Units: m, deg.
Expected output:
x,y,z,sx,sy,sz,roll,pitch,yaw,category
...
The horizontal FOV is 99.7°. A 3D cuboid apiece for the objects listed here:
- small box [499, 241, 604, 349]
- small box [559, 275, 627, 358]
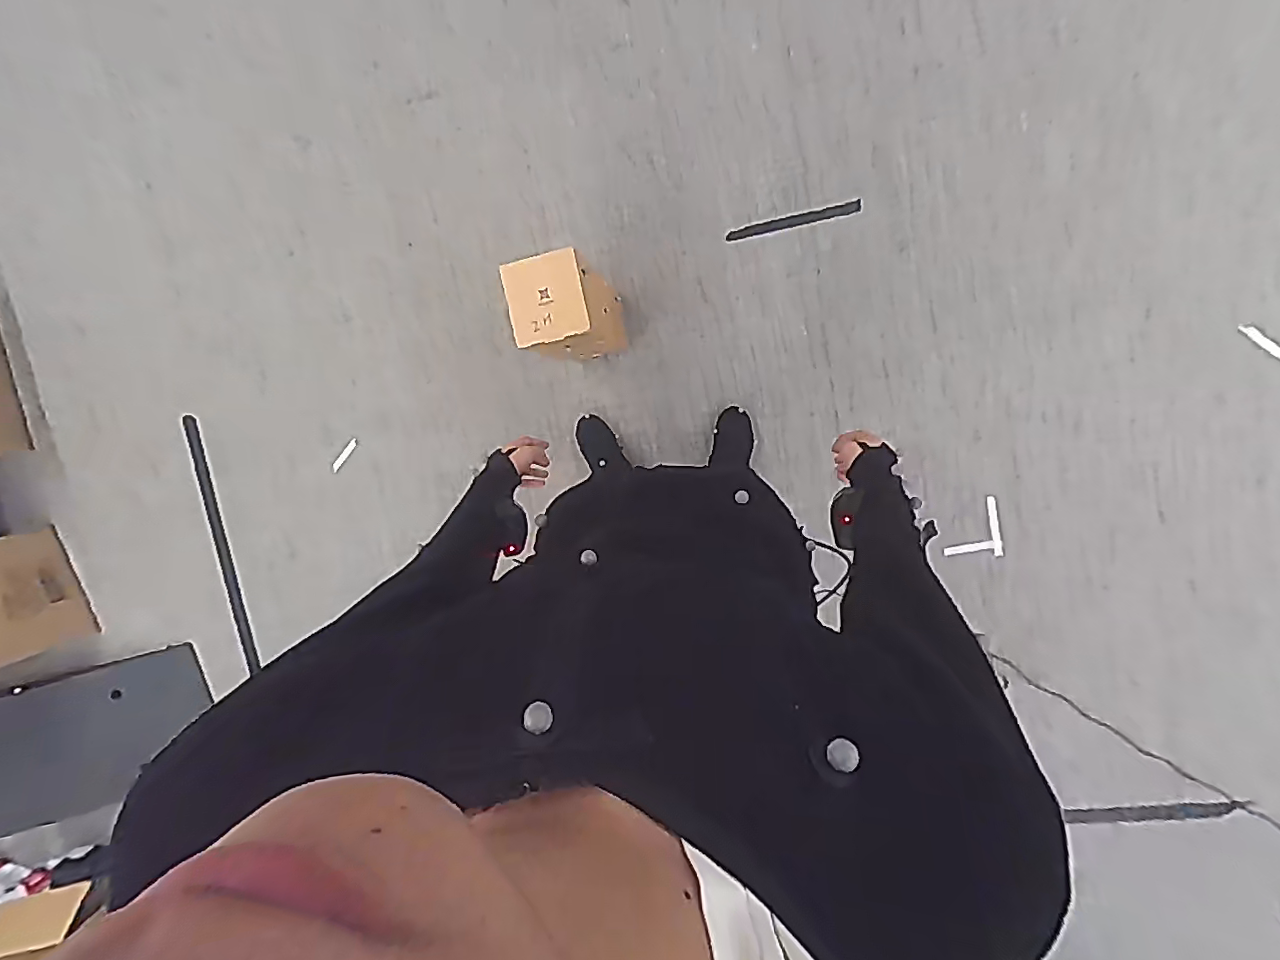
x,y,z,sx,sy,sz,roll,pitch,yaw,category
-0.186,-0.396,1.187,0.168,0.176,0.179,-11,97,10,small box
-0.141,-0.448,1.507,0.168,0.176,0.179,-11,96,9,small box
